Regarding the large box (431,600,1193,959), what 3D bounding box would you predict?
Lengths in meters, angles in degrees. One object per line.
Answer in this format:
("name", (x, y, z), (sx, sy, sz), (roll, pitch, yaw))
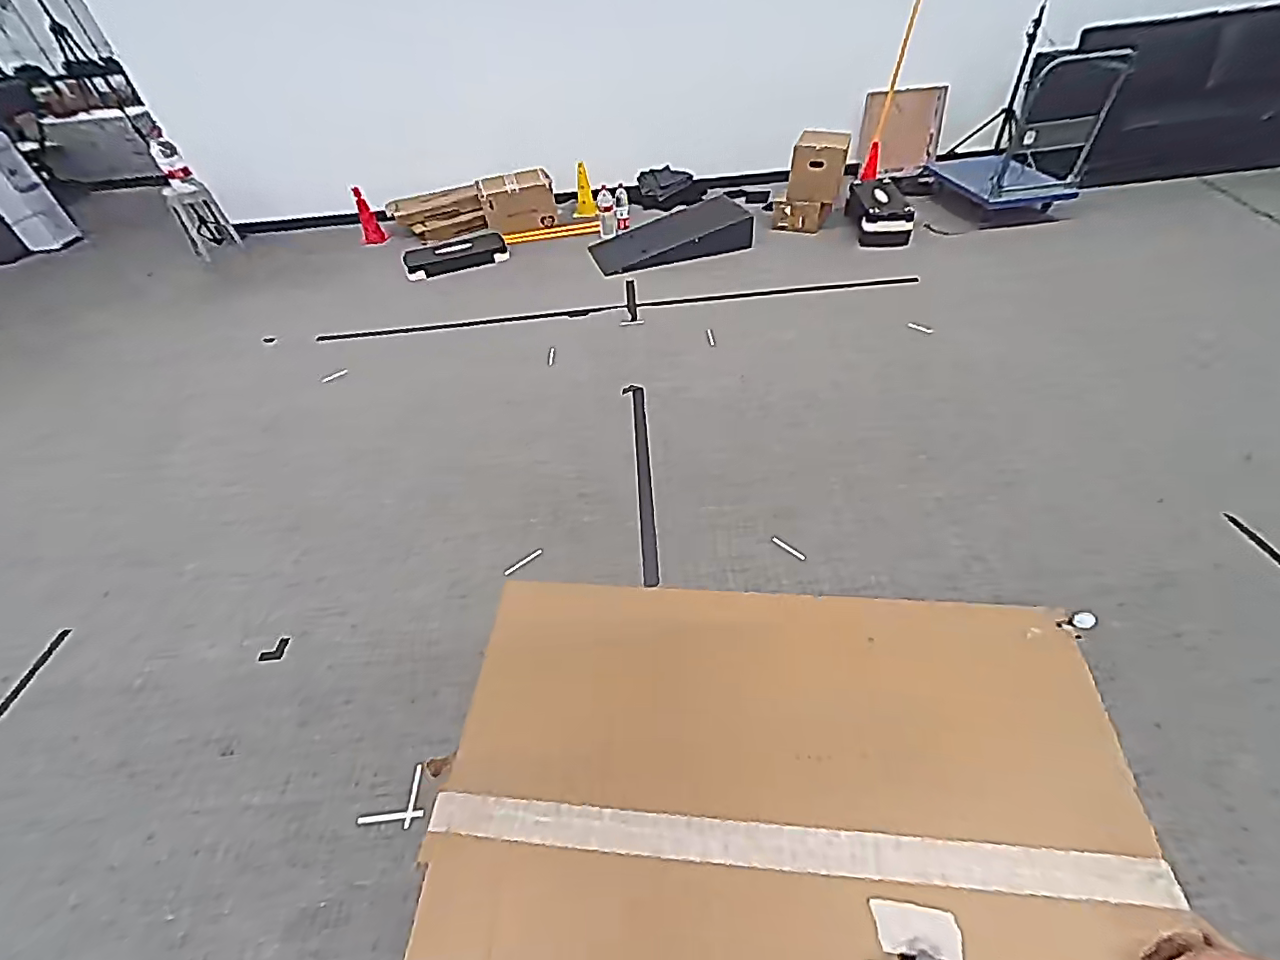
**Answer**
("large box", (0.096, 0.310, 0.431), (0.408, 0.320, 0.320), (1, 53, 6))
